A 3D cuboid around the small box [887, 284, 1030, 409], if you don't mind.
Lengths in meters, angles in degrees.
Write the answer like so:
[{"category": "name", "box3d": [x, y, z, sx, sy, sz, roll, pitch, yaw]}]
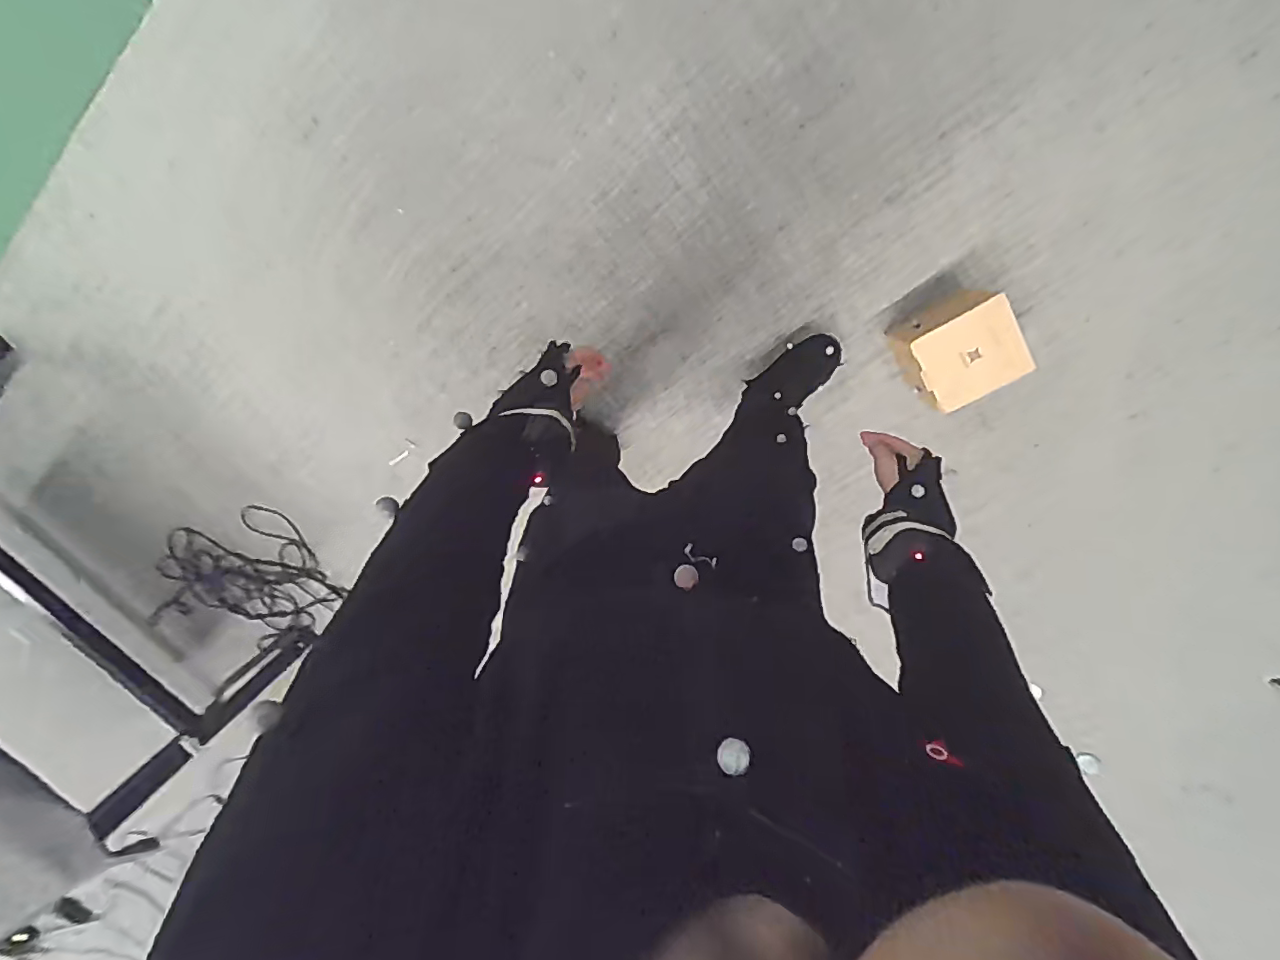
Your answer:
[{"category": "small box", "box3d": [0.616, -0.270, 1.074, 0.179, 0.176, 0.168, -30, 107, 17]}]
